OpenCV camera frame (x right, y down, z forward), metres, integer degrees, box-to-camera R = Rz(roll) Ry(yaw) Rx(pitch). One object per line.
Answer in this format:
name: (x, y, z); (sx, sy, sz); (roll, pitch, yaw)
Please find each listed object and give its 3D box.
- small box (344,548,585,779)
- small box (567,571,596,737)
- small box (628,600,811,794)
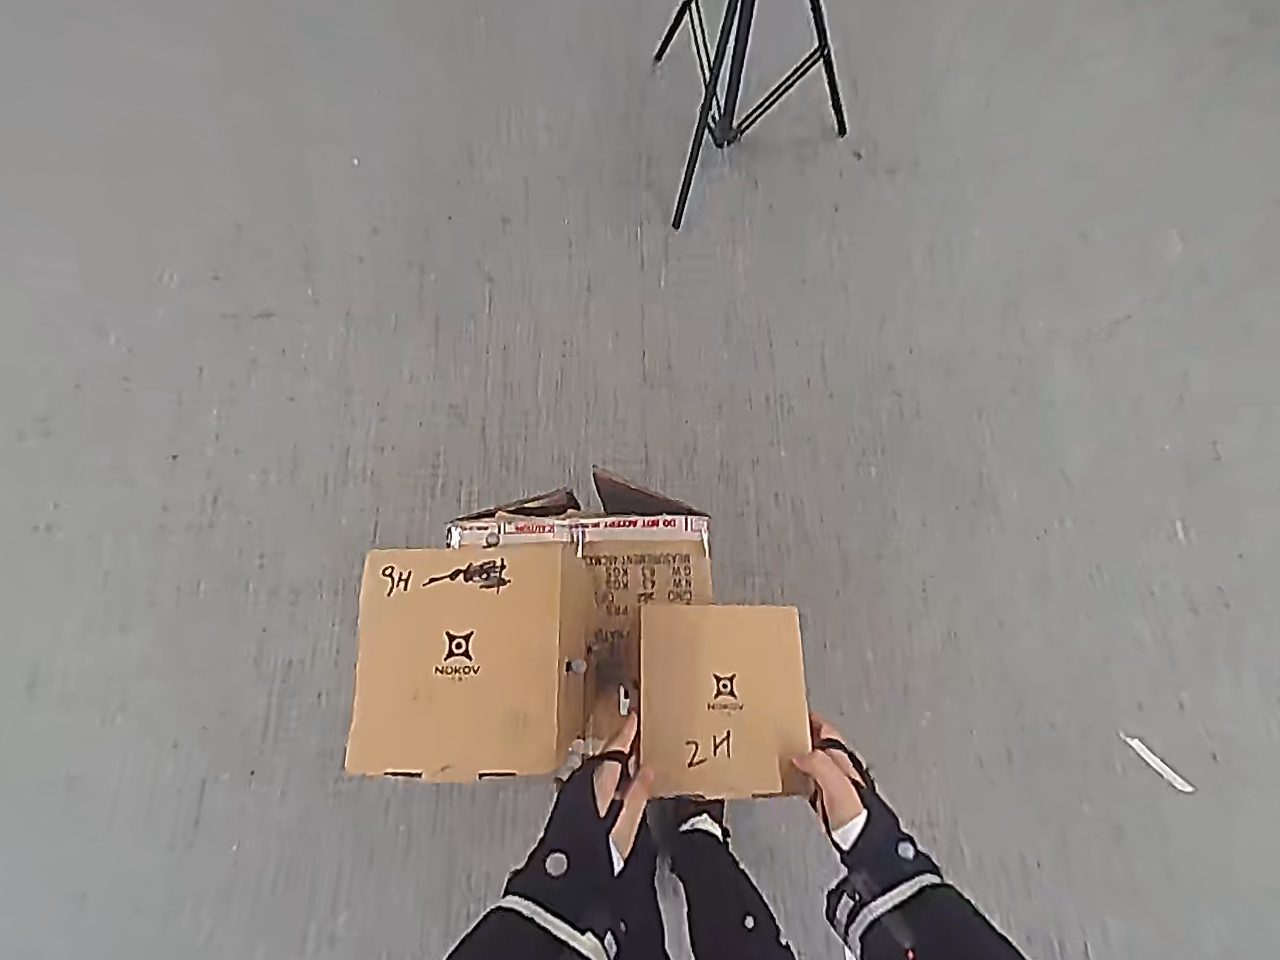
small box: (-0.143, 0.156, 0.504); (0.168, 0.176, 0.179); (-1, 79, 1)
small box: (-0.145, 0.203, 0.662); (0.168, 0.176, 0.179); (-3, 79, 1)
small box: (0.073, 0.234, 0.600); (0.168, 0.176, 0.179); (1, 70, -4)
